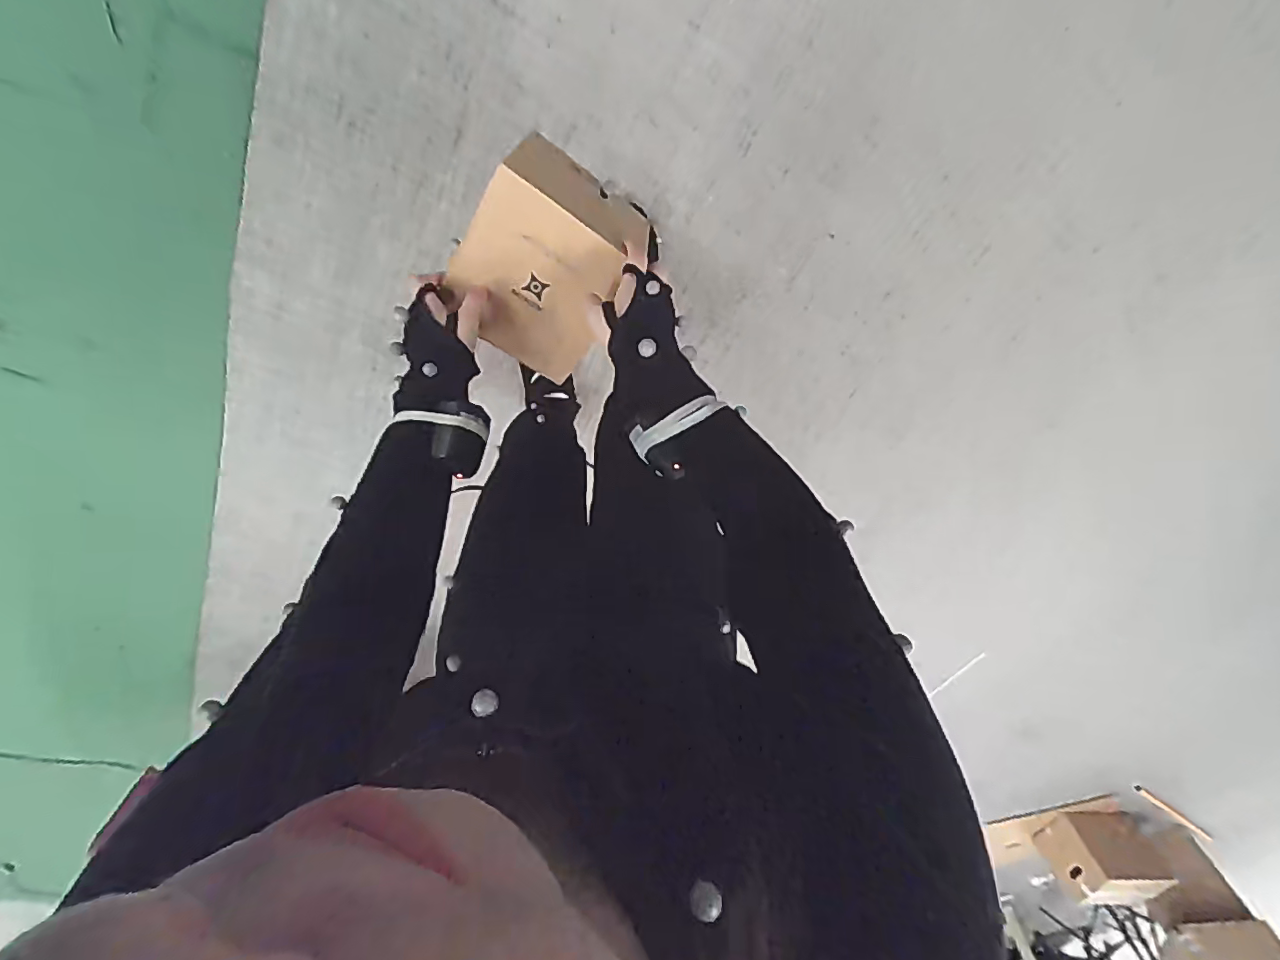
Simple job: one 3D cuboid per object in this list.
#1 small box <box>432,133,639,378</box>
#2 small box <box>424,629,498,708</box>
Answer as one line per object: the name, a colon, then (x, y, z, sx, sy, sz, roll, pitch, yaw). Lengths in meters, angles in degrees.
small box: (-0.111, -0.261, 0.635, 0.168, 0.176, 0.179, 29, 128, -23)
small box: (-0.578, 0.611, 1.762, 0.179, 0.176, 0.168, 20, 122, -17)
